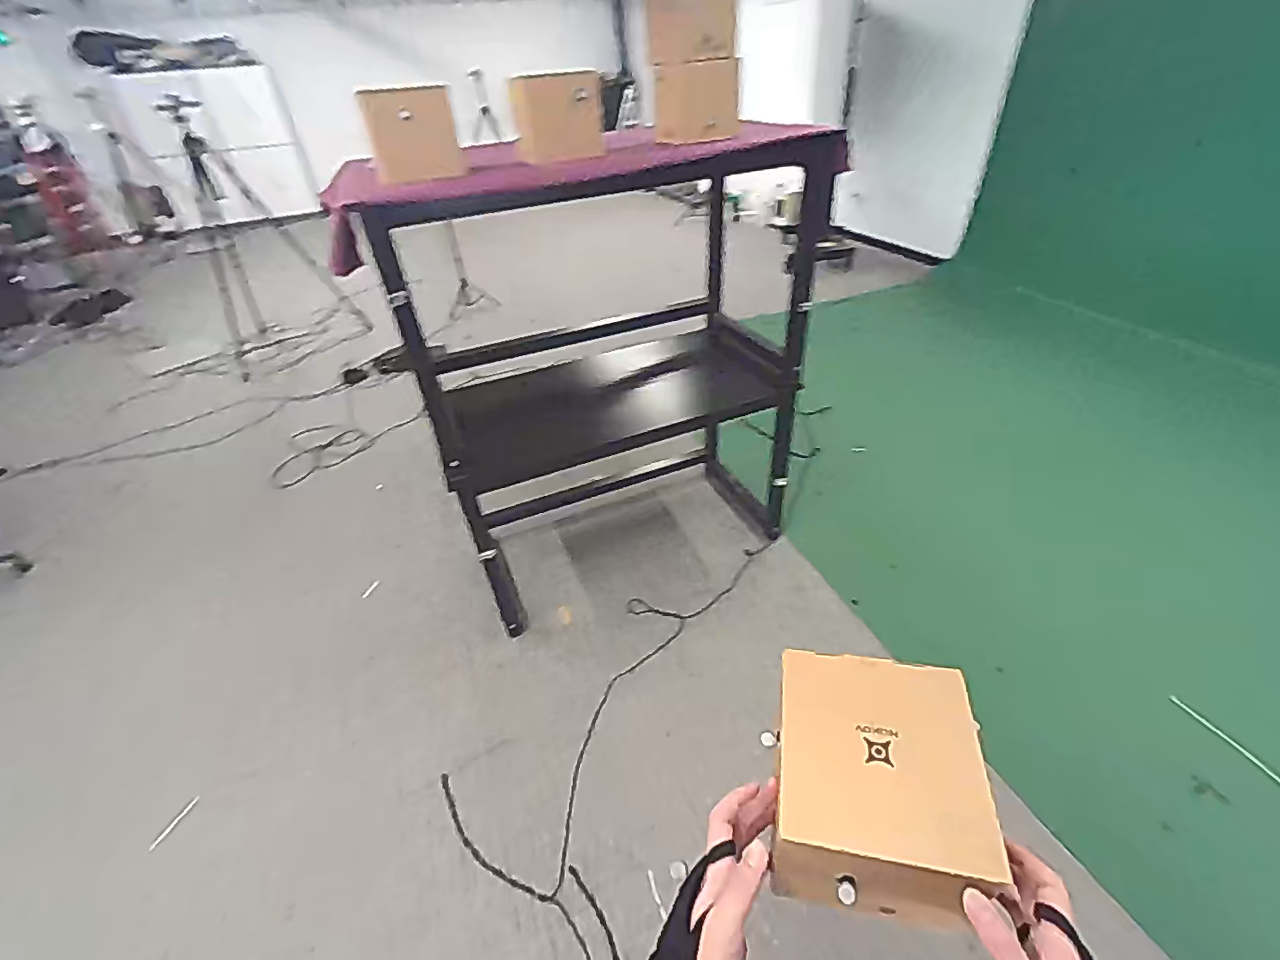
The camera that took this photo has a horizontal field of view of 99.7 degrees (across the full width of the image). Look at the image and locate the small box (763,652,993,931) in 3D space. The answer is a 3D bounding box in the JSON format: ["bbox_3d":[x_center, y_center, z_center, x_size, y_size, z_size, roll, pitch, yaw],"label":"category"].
[{"bbox_3d":[0.206,0.296,0.520,0.168,0.176,0.179,2,40,14],"label":"small box"}]

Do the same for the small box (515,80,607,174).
[{"bbox_3d":[-0.183,-0.846,1.291,0.179,0.176,0.168,-17,38,-15],"label":"small box"}]

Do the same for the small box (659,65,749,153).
[{"bbox_3d":[0.161,-0.952,1.389,0.179,0.176,0.168,-17,37,-16],"label":"small box"}]

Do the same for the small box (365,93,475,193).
[{"bbox_3d":[-0.484,-0.744,1.194,0.179,0.176,0.168,-18,40,-18],"label":"small box"}]
